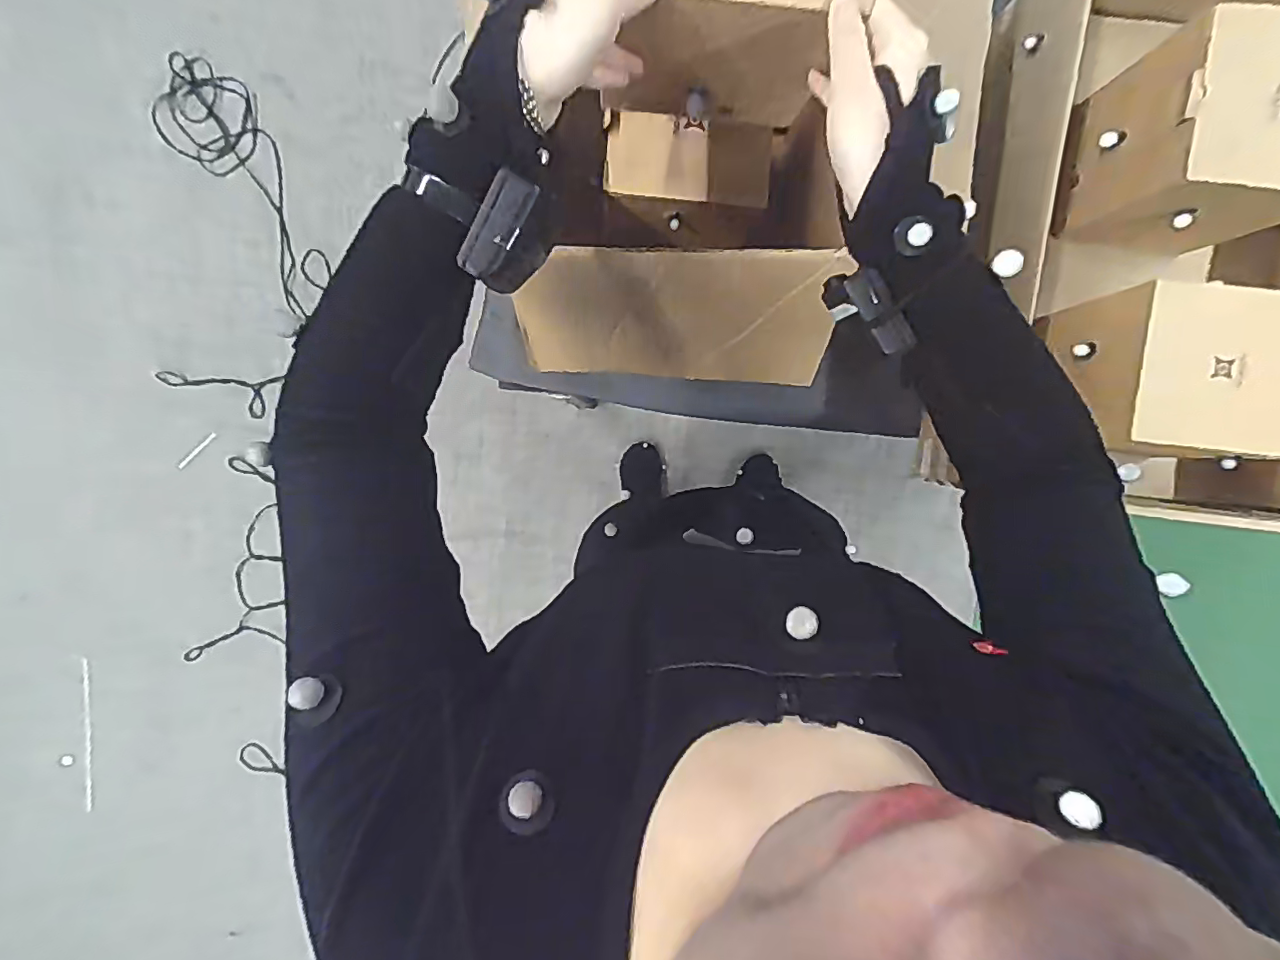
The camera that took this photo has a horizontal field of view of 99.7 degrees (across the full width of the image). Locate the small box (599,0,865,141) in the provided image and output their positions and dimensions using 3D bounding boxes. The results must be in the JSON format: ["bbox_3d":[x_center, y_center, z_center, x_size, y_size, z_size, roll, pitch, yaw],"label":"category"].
[{"bbox_3d":[0.058,-0.379,0.387,0.168,0.176,0.179,4,103,-3],"label":"small box"}]
